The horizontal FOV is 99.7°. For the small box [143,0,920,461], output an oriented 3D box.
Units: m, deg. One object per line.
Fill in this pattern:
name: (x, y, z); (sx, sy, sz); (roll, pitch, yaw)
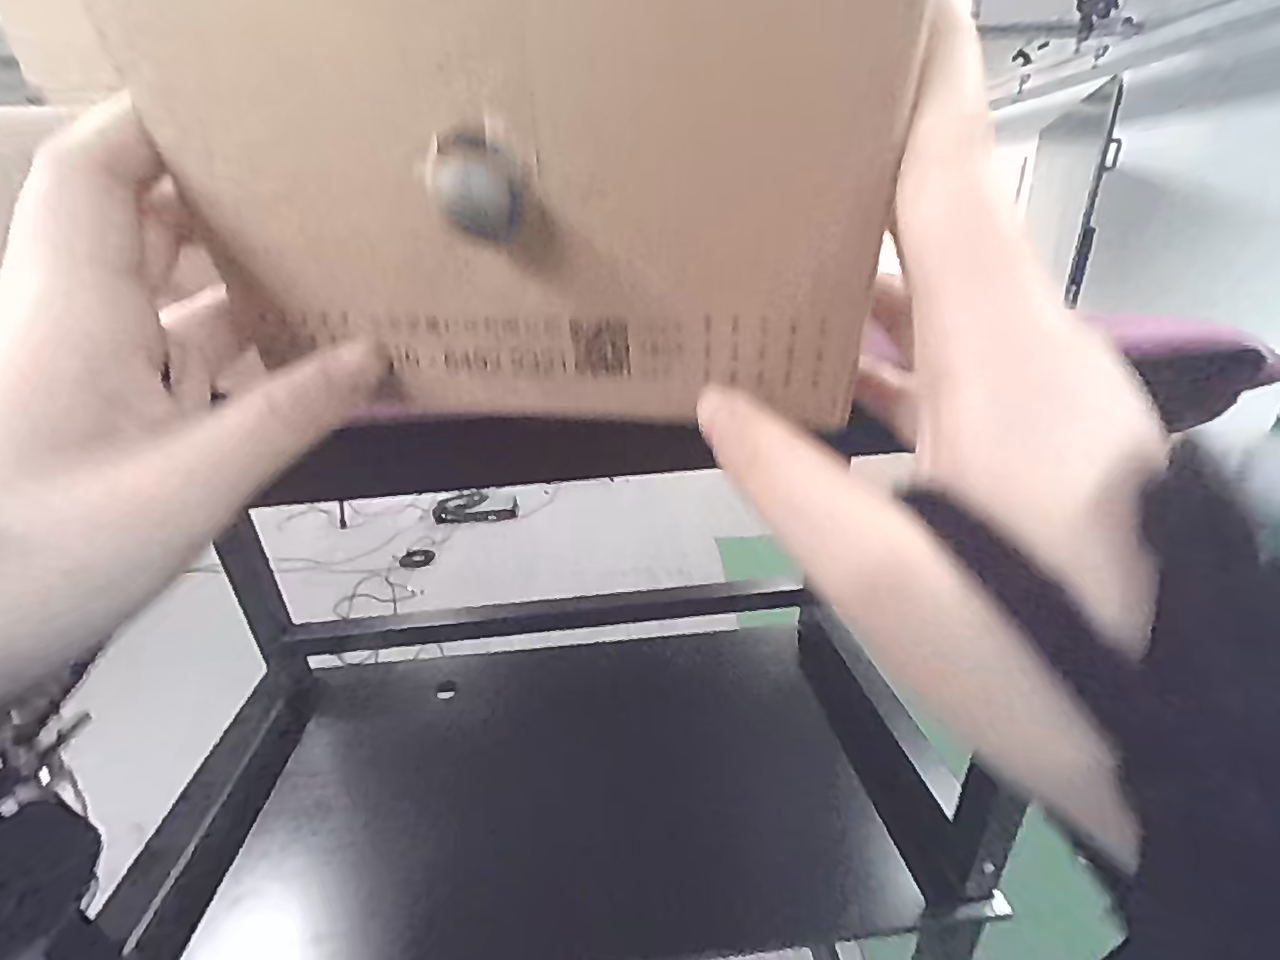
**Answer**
small box: (-0.017, -0.126, 0.173); (0.168, 0.176, 0.179); (4, 38, 11)
